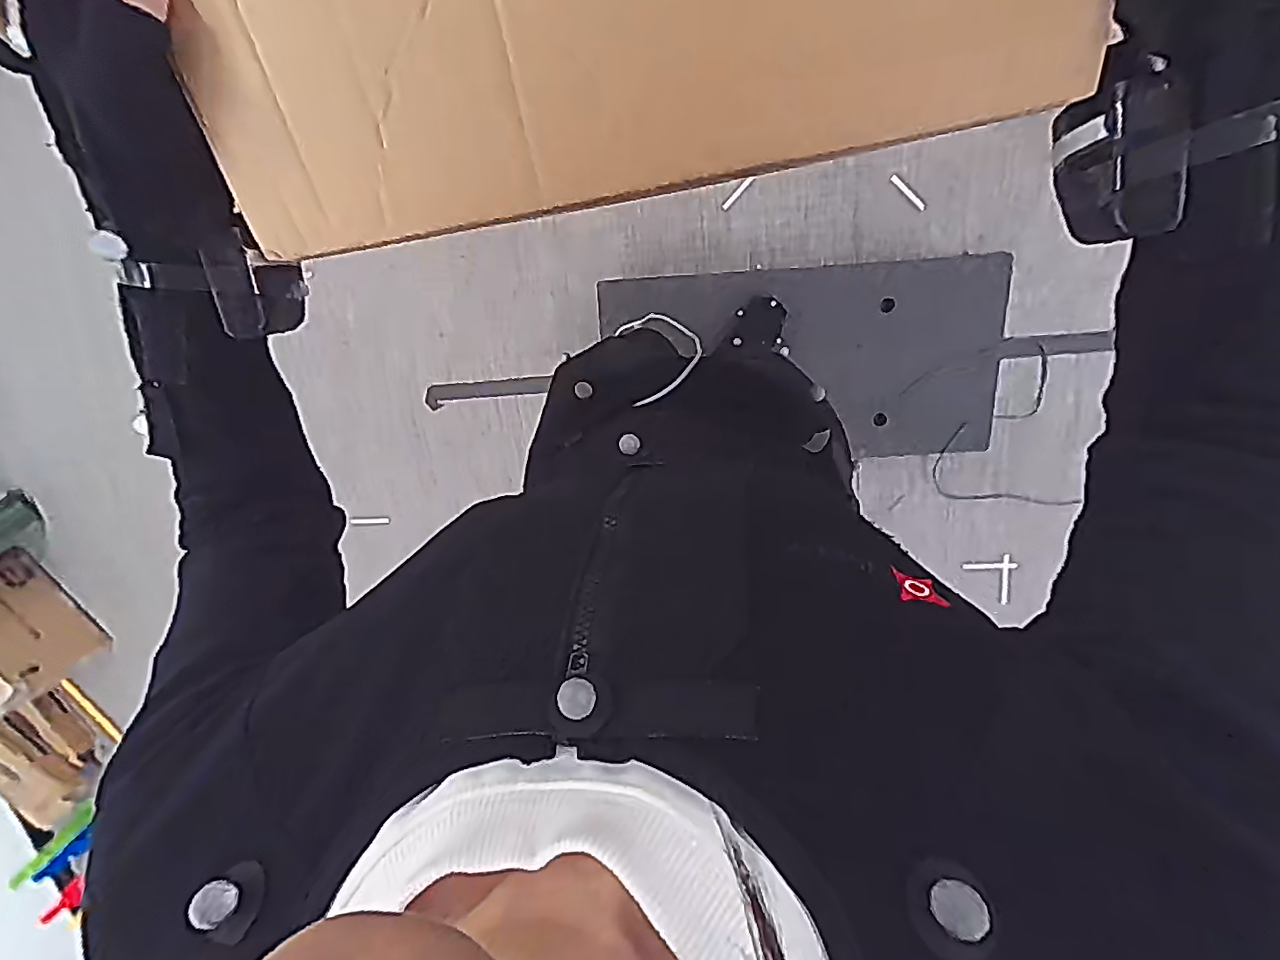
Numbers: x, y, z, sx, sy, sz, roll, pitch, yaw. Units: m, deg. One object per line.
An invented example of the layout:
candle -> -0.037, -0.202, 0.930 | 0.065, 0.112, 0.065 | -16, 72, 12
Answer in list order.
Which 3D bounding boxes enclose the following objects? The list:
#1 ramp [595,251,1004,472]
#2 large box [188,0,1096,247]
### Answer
ramp -> 0.400, -0.290, 1.381 | 0.991, 0.206, 0.509 | -3, 106, 11
large box -> -0.012, -0.356, 0.333 | 0.408, 0.320, 0.320 | -5, 118, 11
